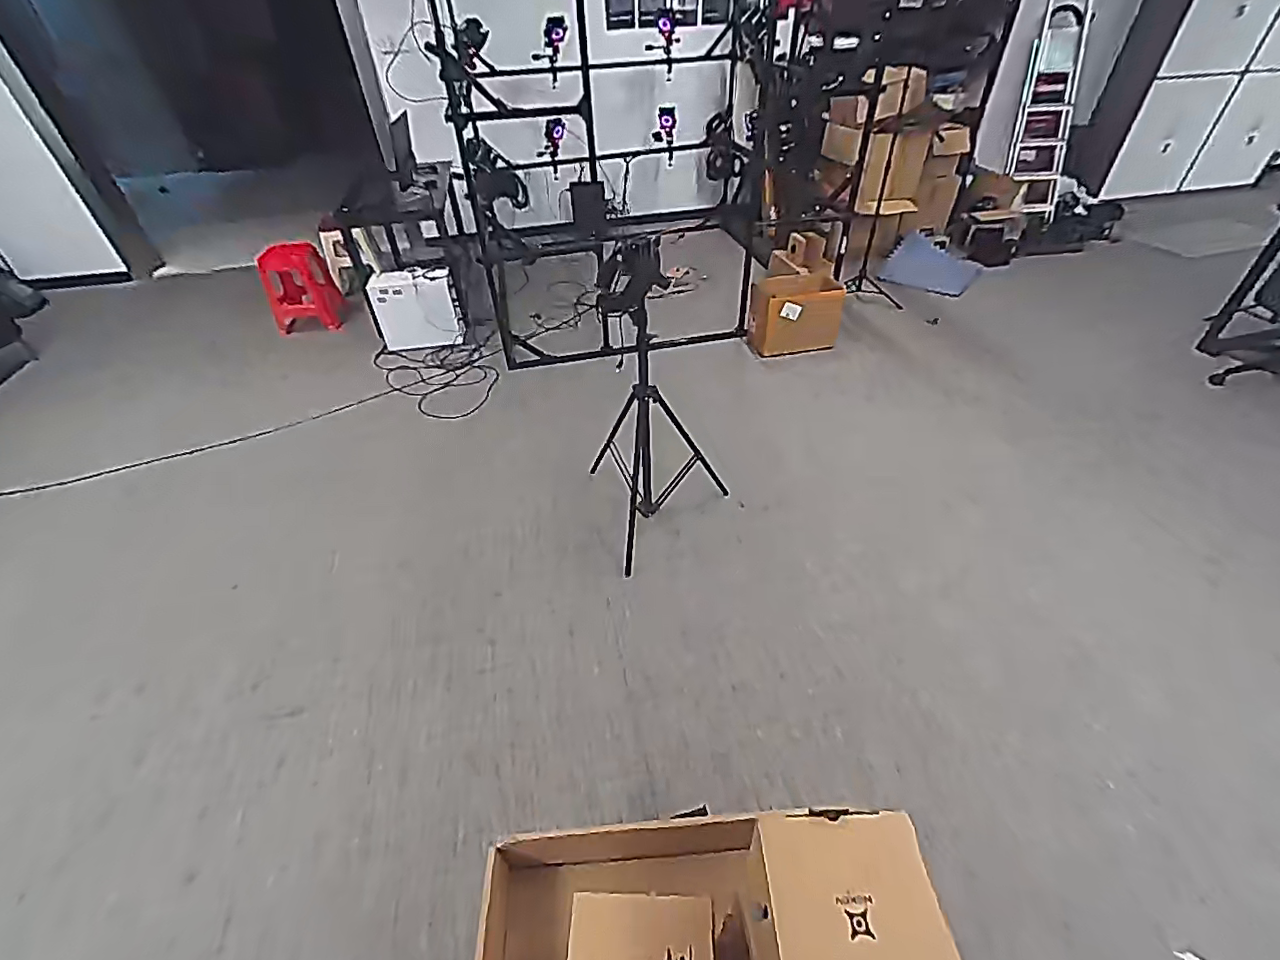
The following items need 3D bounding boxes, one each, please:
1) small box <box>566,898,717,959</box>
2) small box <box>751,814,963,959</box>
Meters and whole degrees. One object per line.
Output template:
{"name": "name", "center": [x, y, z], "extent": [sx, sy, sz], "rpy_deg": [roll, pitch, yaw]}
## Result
{"name": "small box", "center": [0.002, 0.630, 0.653], "extent": [0.179, 0.176, 0.168], "rpy_deg": [0, 41, 3]}
{"name": "small box", "center": [0.214, 0.477, 0.563], "extent": [0.168, 0.176, 0.179], "rpy_deg": [-4, 40, 2]}
